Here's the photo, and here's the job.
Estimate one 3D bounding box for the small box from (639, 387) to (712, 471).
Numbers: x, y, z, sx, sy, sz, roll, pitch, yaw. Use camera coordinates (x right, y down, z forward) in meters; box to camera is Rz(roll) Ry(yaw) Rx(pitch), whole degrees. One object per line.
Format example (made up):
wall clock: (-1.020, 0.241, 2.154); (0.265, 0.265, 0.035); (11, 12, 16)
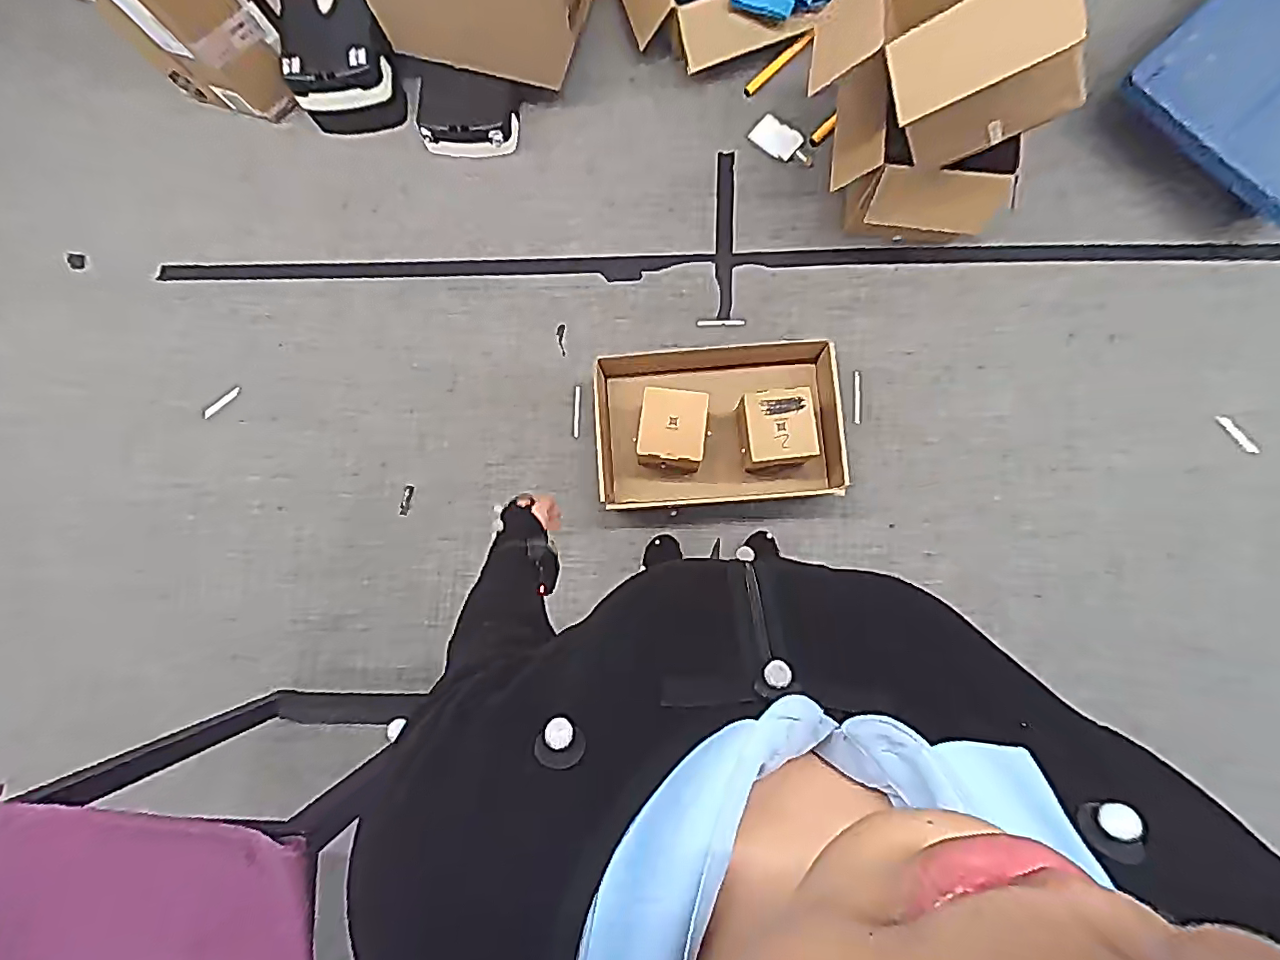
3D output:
small box: (0.089, -0.128, 1.418); (0.168, 0.176, 0.179); (6, 84, 3)
